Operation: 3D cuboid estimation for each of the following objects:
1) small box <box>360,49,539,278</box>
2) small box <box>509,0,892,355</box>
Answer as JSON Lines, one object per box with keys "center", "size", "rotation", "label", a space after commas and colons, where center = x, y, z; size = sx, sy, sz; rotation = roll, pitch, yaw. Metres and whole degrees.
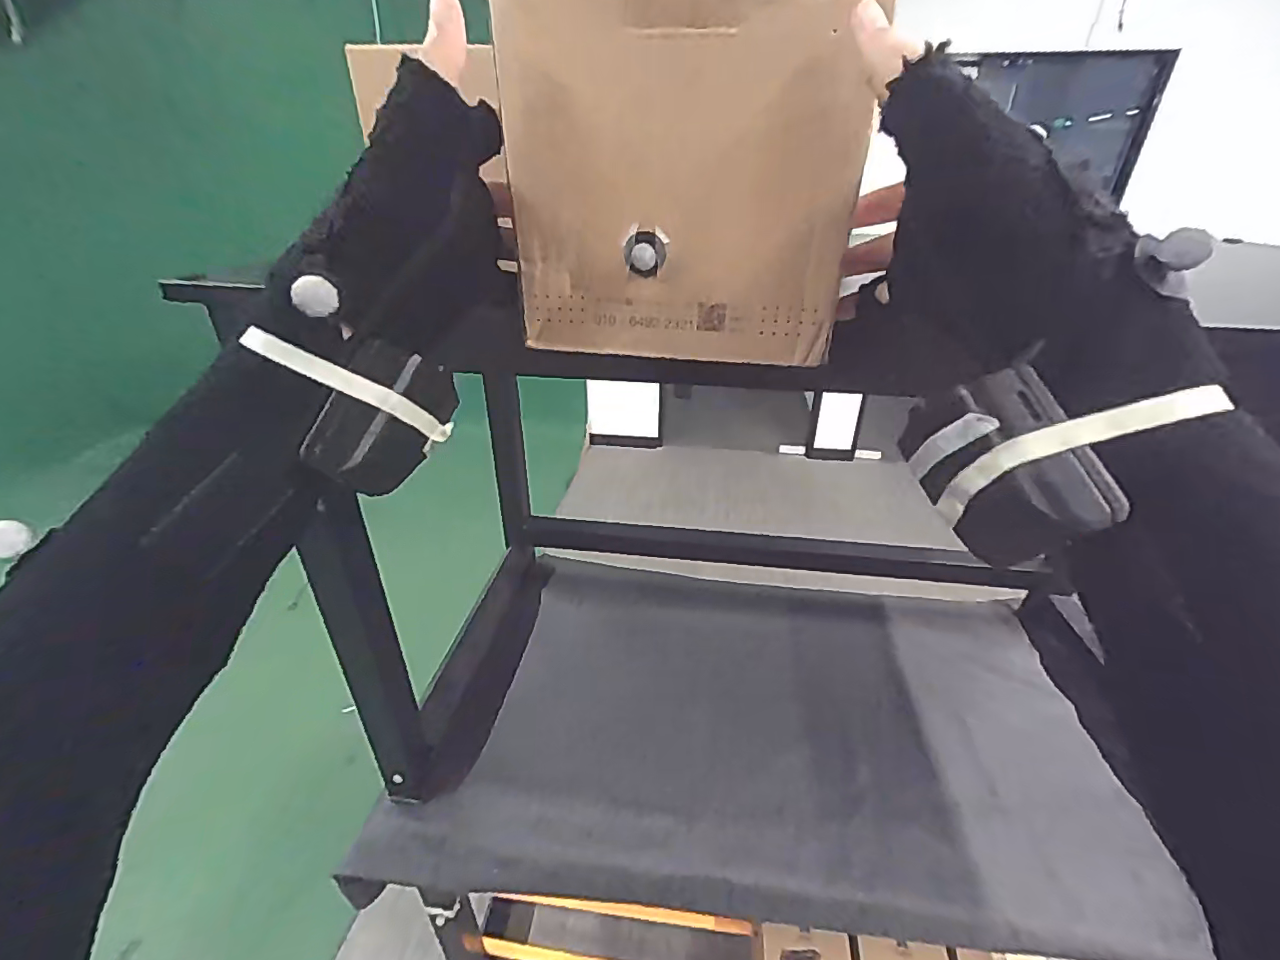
{"center": [-0.137, -0.301, 0.533], "size": [0.168, 0.176, 0.179], "rotation": [1, 29, 3], "label": "small box"}
{"center": [0.031, -0.188, 0.328], "size": [0.168, 0.176, 0.179], "rotation": [5, 33, 7], "label": "small box"}
